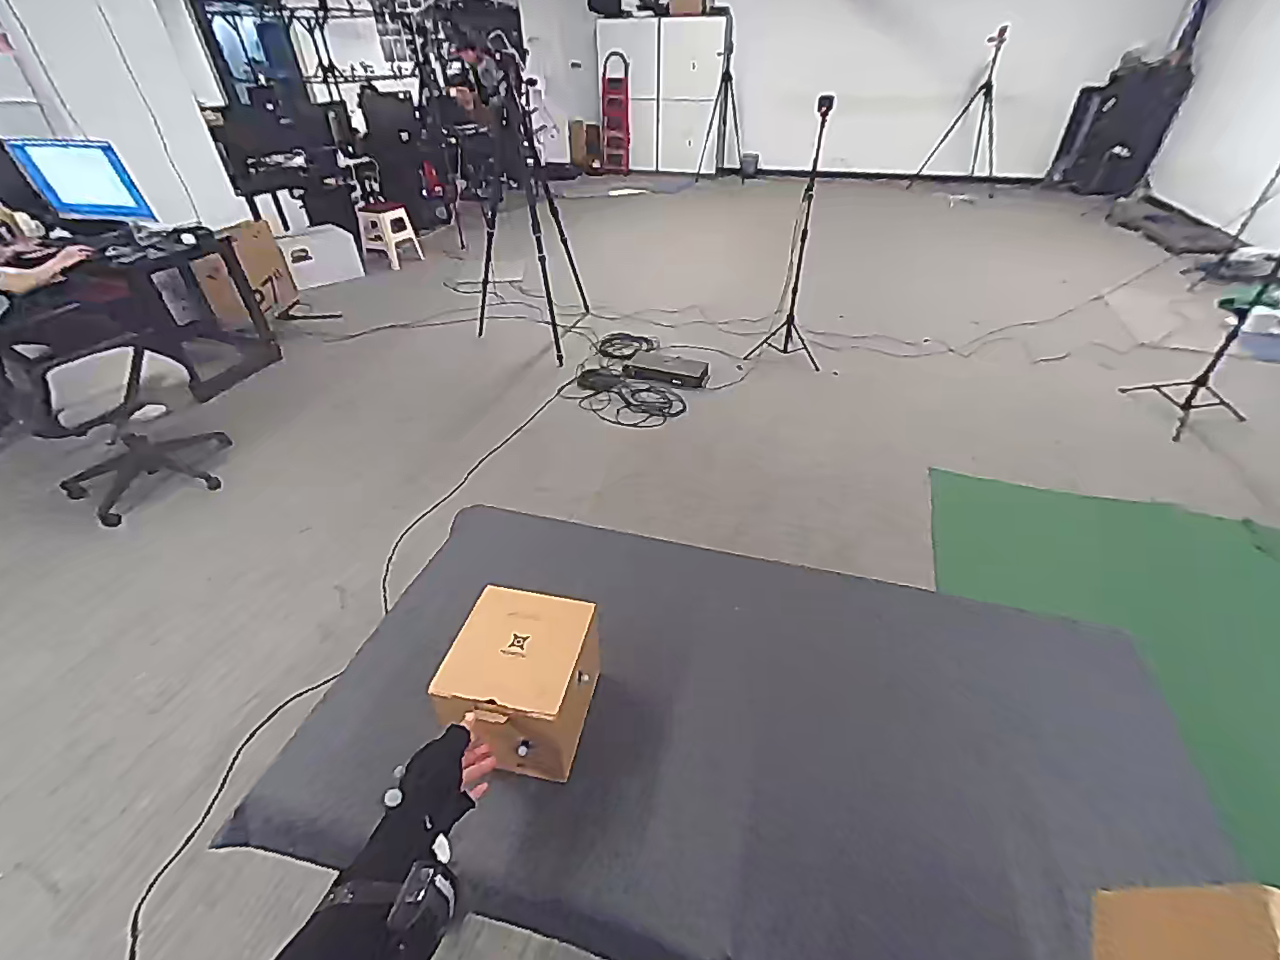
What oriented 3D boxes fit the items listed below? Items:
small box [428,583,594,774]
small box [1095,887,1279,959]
[{"bbox_3d":[-0.162,0.275,0.751,0.168,0.176,0.179,8,37,8],"label":"small box"},{"bbox_3d":[0.408,0.381,0.317,0.168,0.176,0.179,21,56,17],"label":"small box"}]
